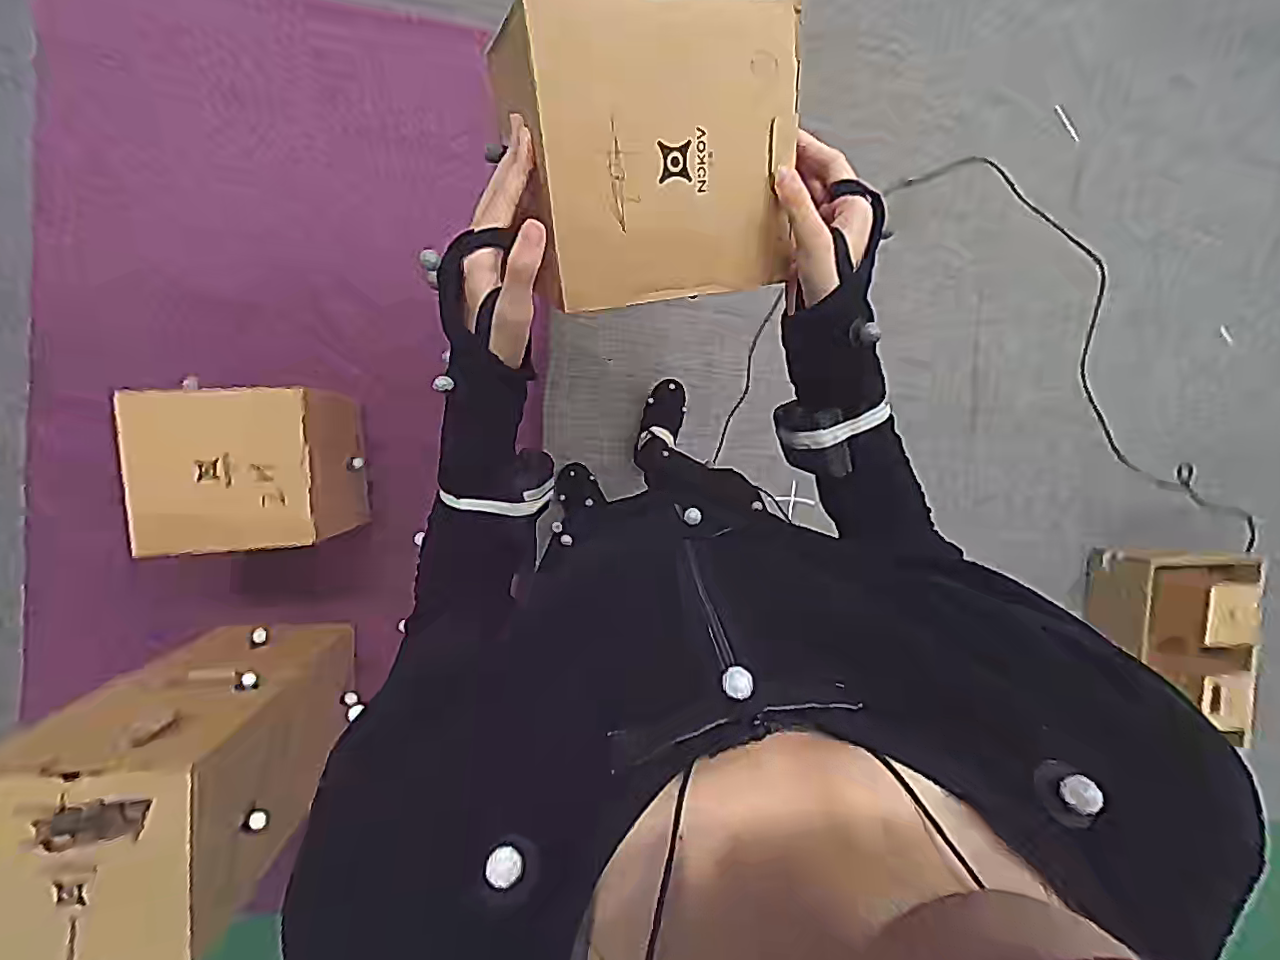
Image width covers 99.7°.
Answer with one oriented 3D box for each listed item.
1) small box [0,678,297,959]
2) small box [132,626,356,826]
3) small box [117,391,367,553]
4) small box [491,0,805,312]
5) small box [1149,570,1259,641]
[{"bbox_3d":[-0.440,0.295,0.493,0.168,0.176,0.179,2,95,-8],"label":"small box"},{"bbox_3d":[-0.463,0.285,0.656,0.168,0.176,0.179,2,93,-8],"label":"small box"},{"bbox_3d":[-0.447,-0.014,0.638,0.179,0.176,0.168,-3,95,-8],"label":"small box"},{"bbox_3d":[-0.004,-0.233,0.411,0.179,0.176,0.168,-12,119,-17],"label":"small box"},{"bbox_3d":[1.711,0.374,1.649,0.168,0.176,0.179,0,95,-6],"label":"small box"}]
